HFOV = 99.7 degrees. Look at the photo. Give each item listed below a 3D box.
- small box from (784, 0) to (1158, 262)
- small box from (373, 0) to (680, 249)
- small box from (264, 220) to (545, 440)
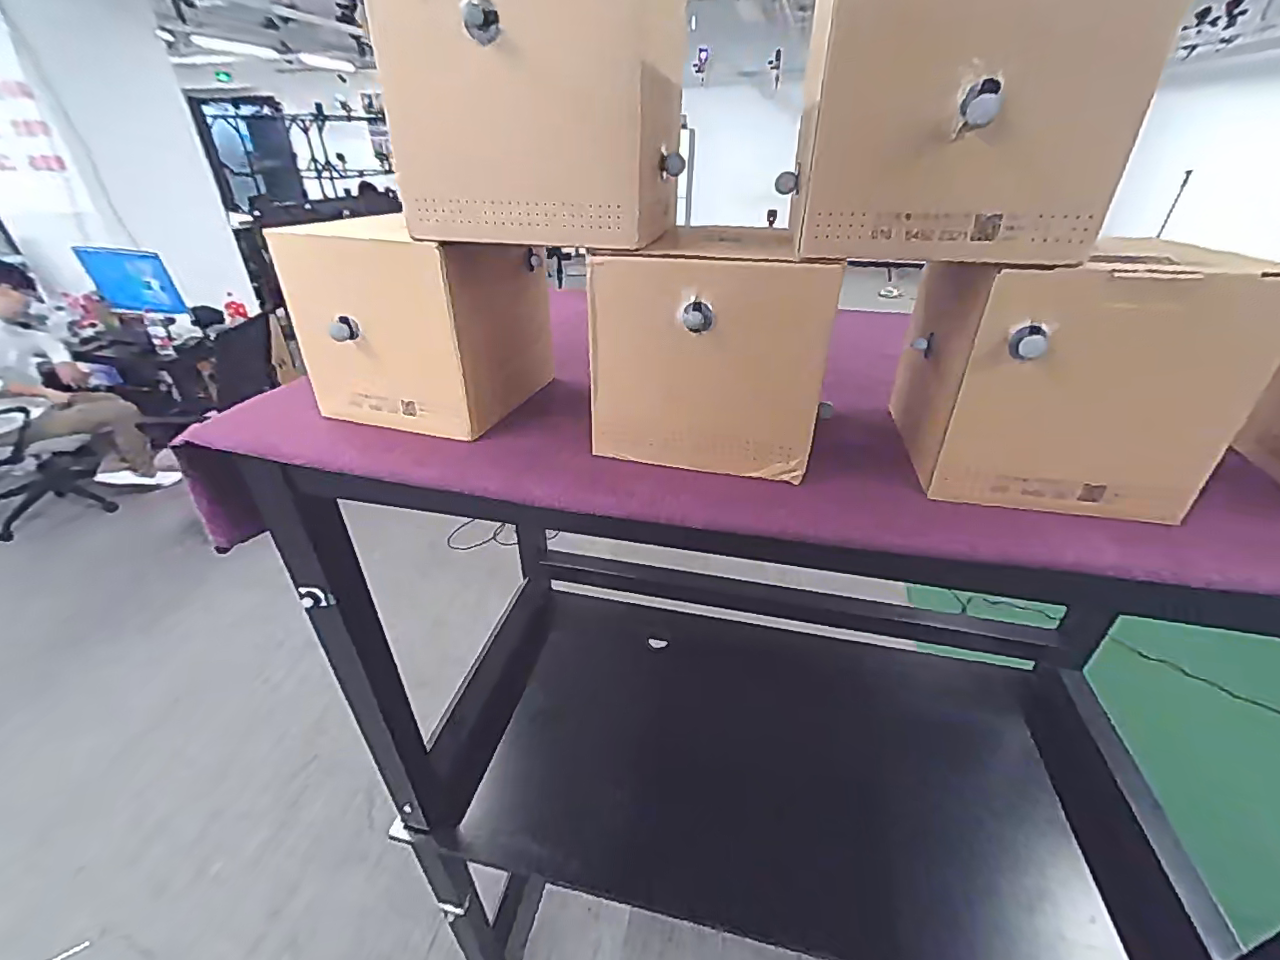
[{"bbox_3d":[0.189,-0.245,0.356,0.168,0.176,0.179,5,32,10],"label":"small box"},{"bbox_3d":[-0.071,-0.274,0.408,0.179,0.176,0.168,7,32,10],"label":"small box"},{"bbox_3d":[-0.202,-0.152,0.524,0.168,0.176,0.179,9,31,15],"label":"small box"}]
